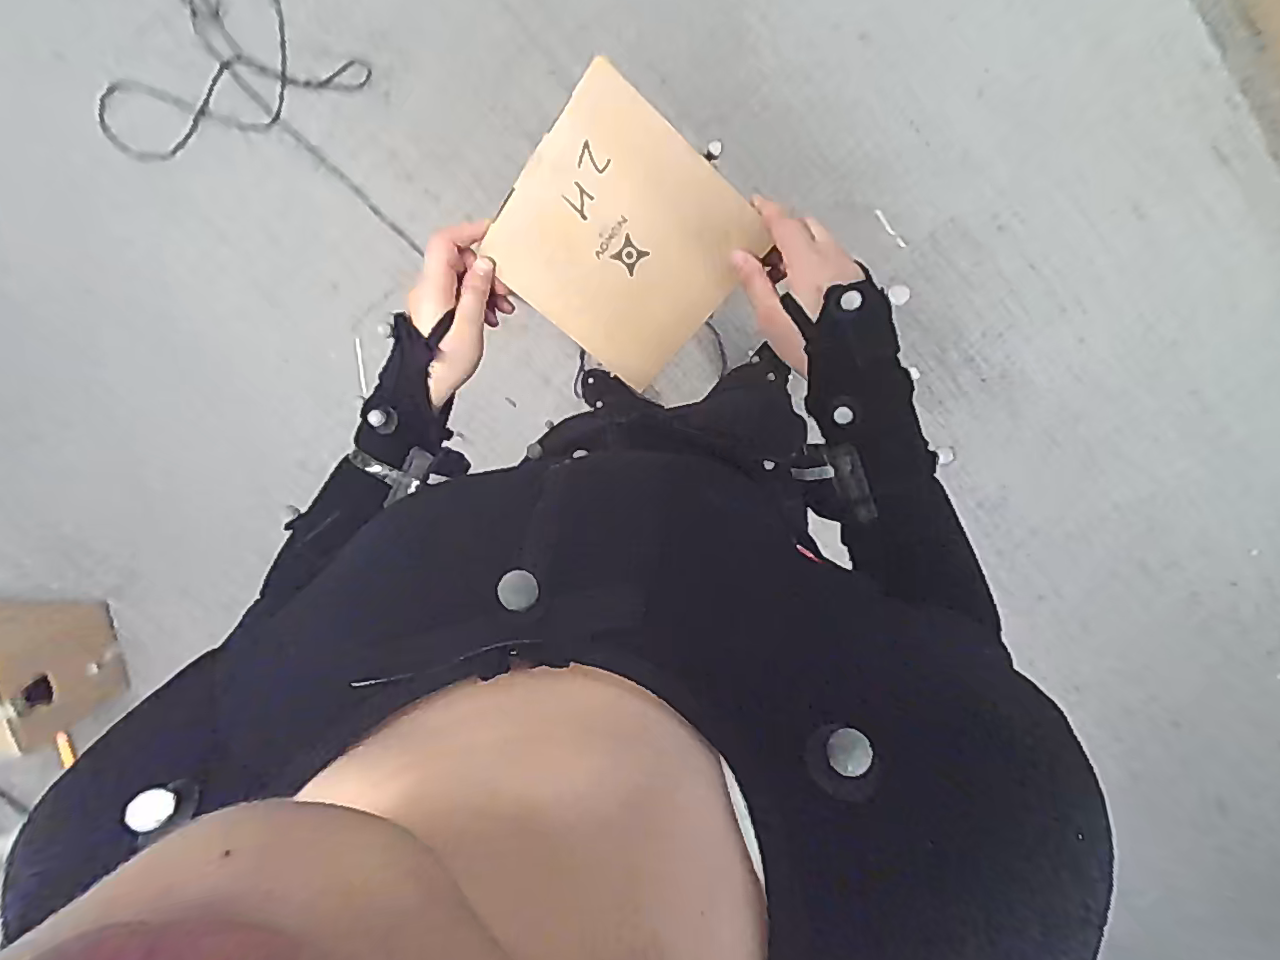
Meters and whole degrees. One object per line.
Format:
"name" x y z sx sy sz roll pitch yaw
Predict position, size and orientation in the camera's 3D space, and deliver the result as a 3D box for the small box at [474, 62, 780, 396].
"small box" -0.005 -0.211 0.474 0.179 0.176 0.168 38 116 -14
